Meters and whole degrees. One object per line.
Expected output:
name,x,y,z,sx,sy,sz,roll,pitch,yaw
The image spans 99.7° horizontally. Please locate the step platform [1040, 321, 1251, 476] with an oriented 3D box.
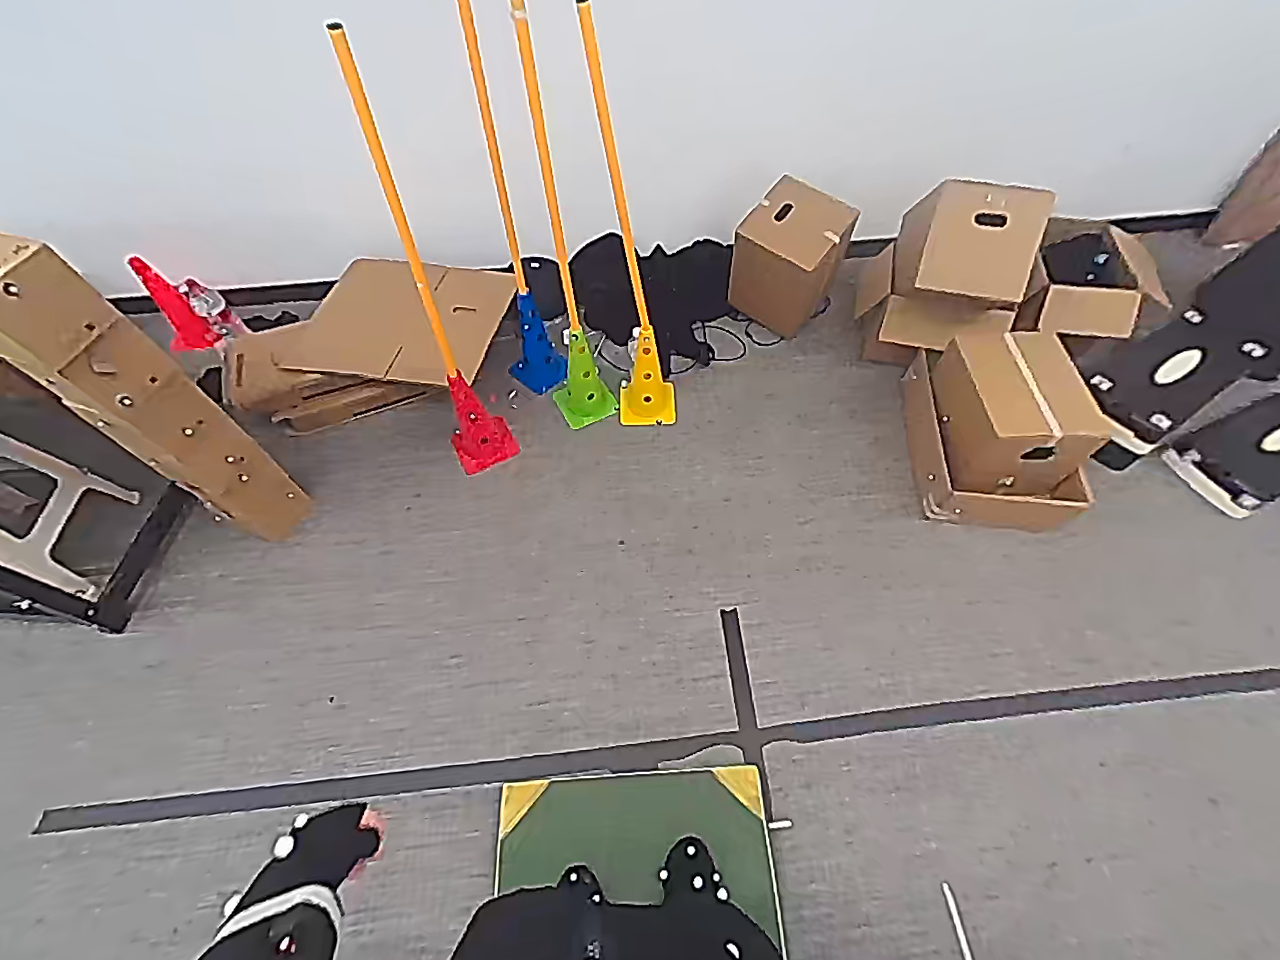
step platform,1.758,-0.296,1.883,0.684,0.204,0.286,-30,61,-16
